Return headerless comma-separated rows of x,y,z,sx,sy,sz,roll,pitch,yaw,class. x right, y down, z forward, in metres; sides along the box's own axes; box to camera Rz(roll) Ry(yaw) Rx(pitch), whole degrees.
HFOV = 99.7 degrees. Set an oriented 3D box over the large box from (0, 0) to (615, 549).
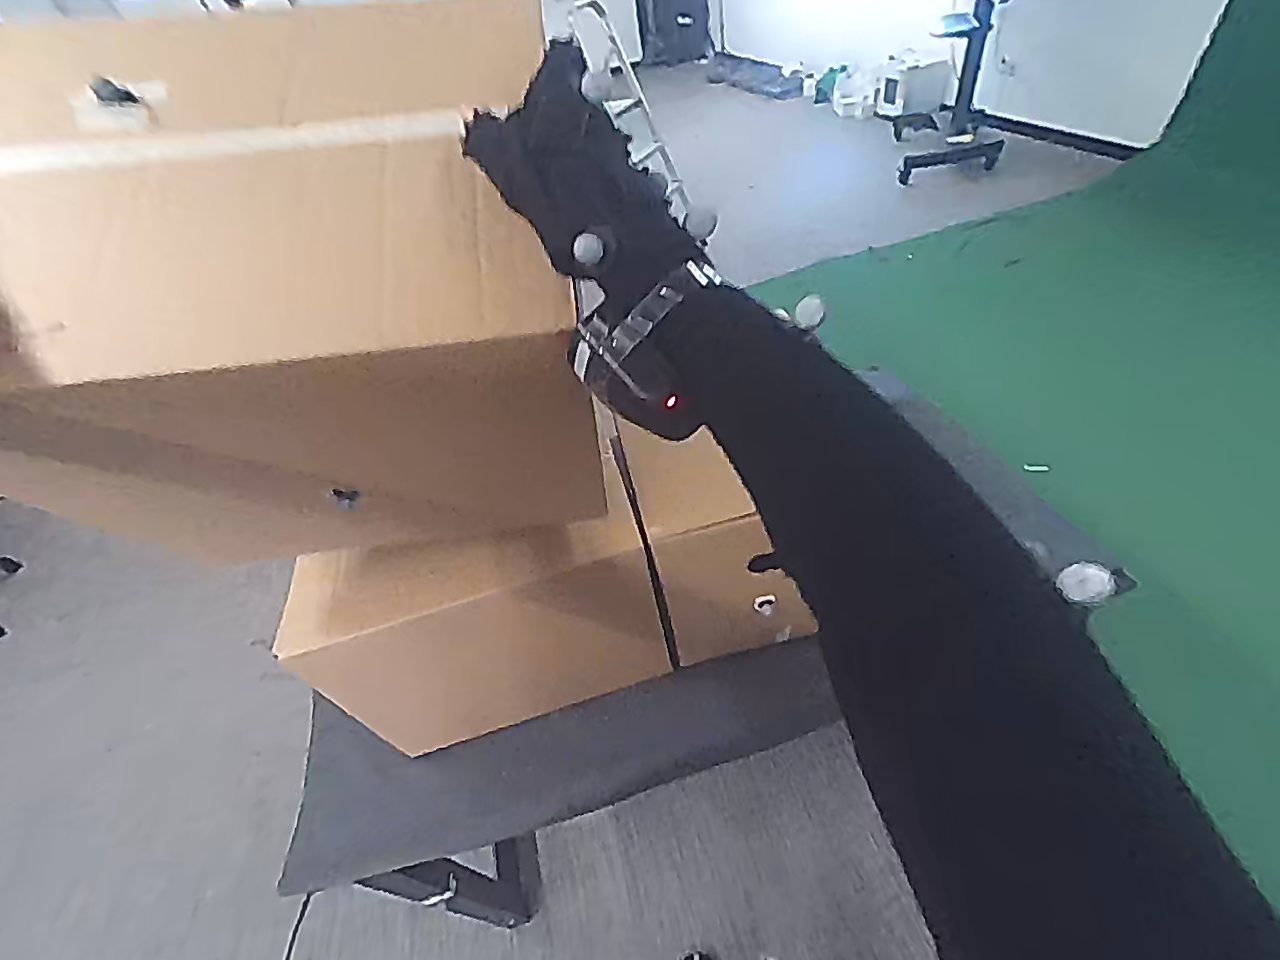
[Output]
-0.245,-0.144,0.473,0.408,0.320,0.320,-7,68,-2,large box
